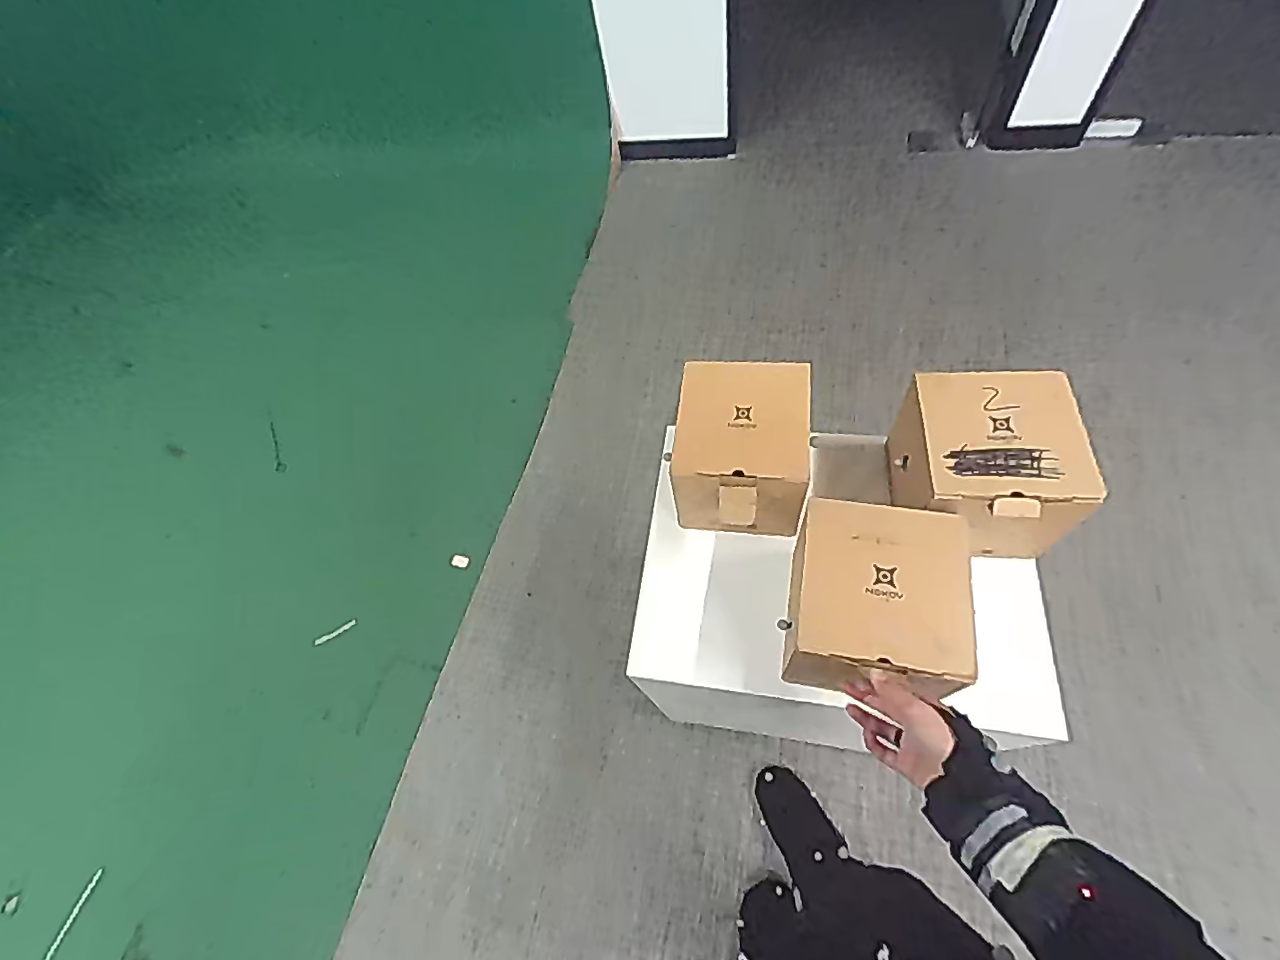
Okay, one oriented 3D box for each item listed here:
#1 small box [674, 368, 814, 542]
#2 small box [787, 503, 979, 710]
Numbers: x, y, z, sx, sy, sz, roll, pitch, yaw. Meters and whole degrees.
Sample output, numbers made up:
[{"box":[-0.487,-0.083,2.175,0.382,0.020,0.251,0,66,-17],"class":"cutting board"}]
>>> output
[{"box":[0.143,-0.032,0.746,0.168,0.176,0.179,3,63,11],"class":"small box"},{"box":[0.264,0.150,0.619,0.168,0.176,0.179,8,61,14],"class":"small box"}]
